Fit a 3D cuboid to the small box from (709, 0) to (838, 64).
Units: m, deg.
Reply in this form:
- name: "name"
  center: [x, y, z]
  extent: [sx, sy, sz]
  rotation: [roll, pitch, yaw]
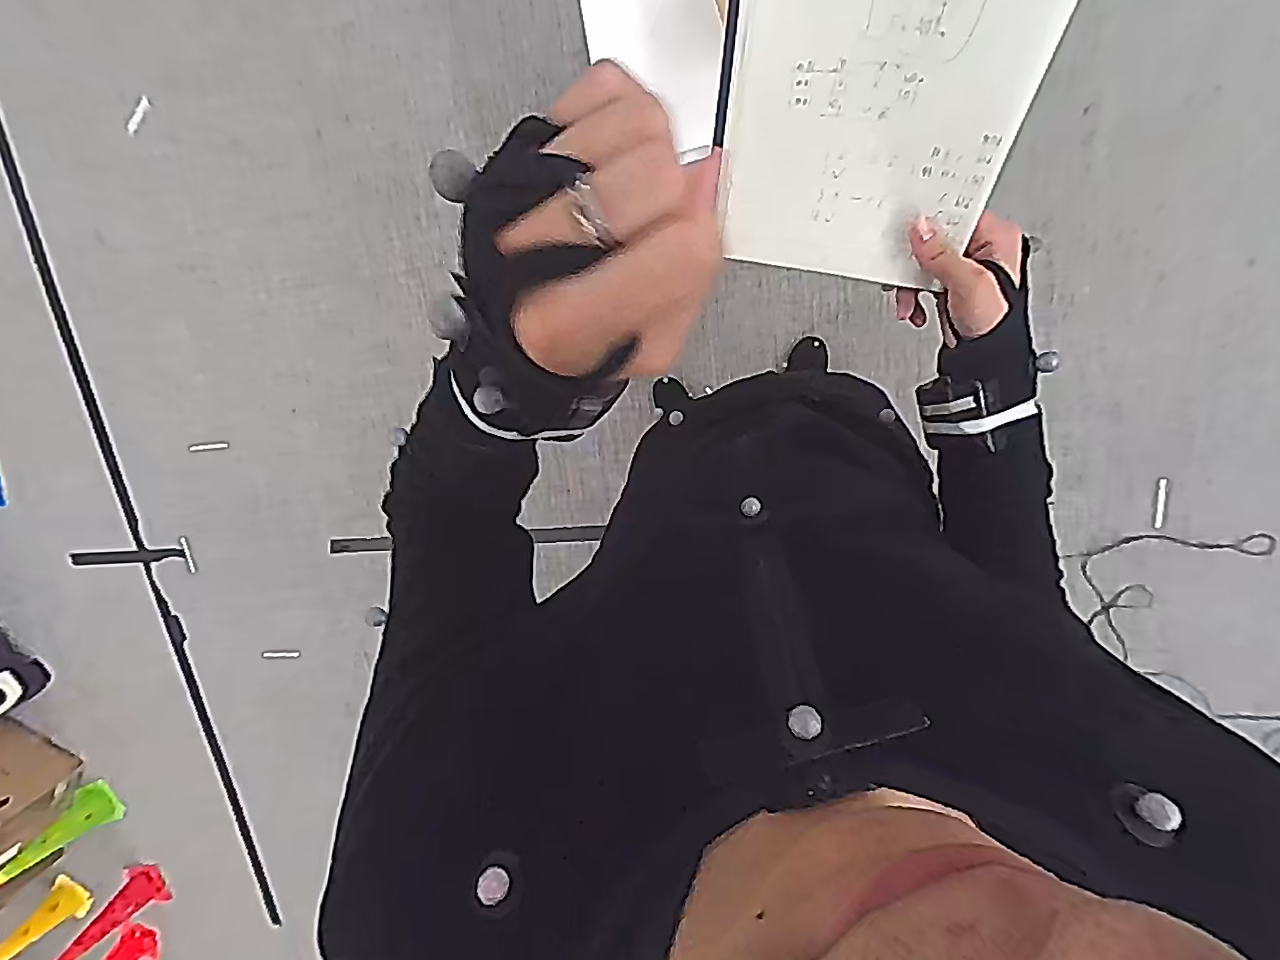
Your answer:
- name: "small box"
  center: [0.185, -0.739, 0.756]
  extent: [0.179, 0.176, 0.168]
  rotation: [-17, 100, 13]
